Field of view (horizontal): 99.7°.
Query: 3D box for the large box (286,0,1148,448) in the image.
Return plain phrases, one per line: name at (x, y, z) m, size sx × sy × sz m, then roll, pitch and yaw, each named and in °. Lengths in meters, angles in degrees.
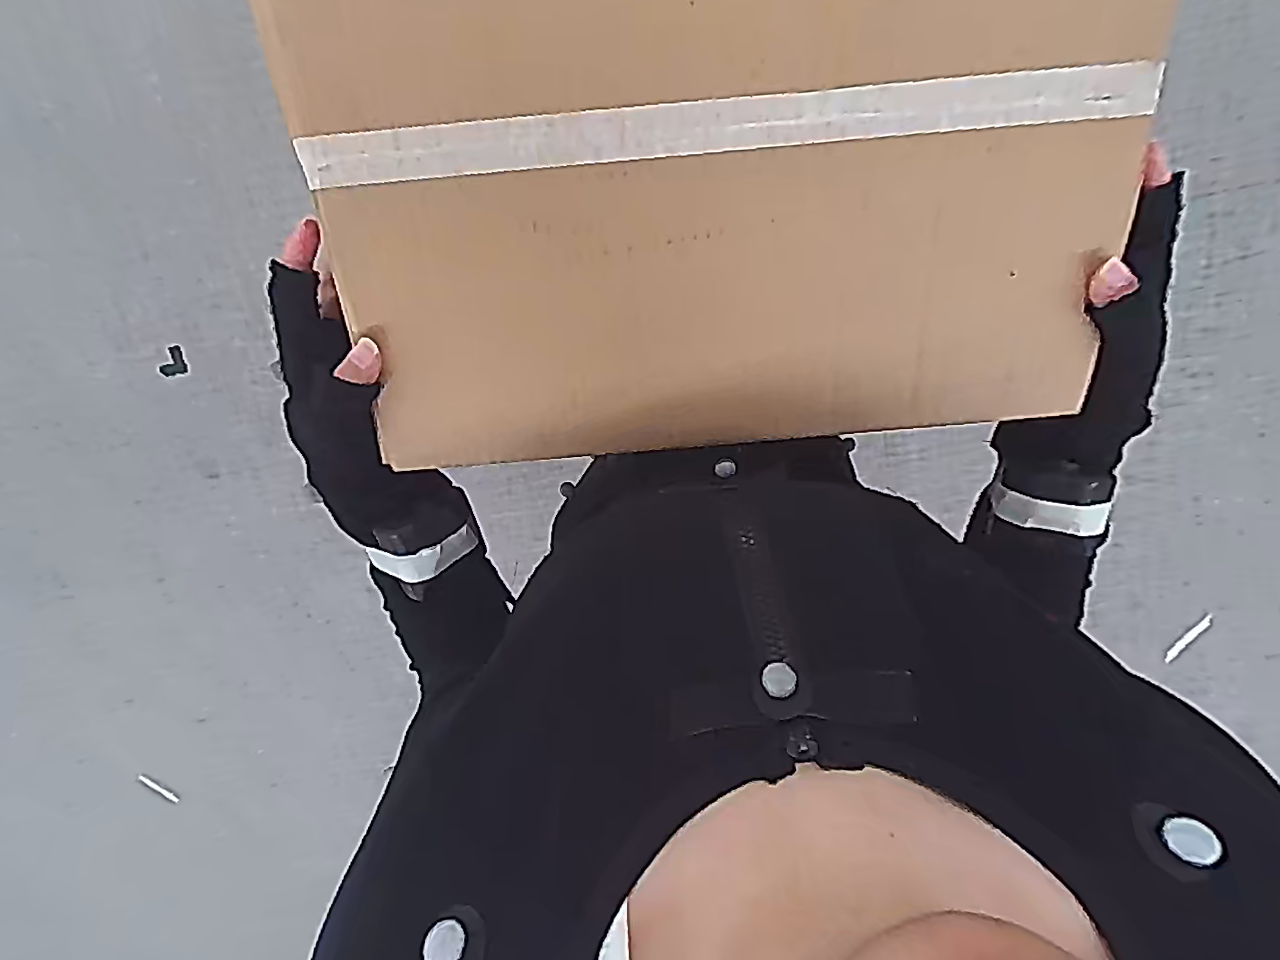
large box at (0.035, -0.235, 0.405) m, size 0.408 × 0.320 × 0.320 m, roll -5°, pitch 114°, yaw 0°
